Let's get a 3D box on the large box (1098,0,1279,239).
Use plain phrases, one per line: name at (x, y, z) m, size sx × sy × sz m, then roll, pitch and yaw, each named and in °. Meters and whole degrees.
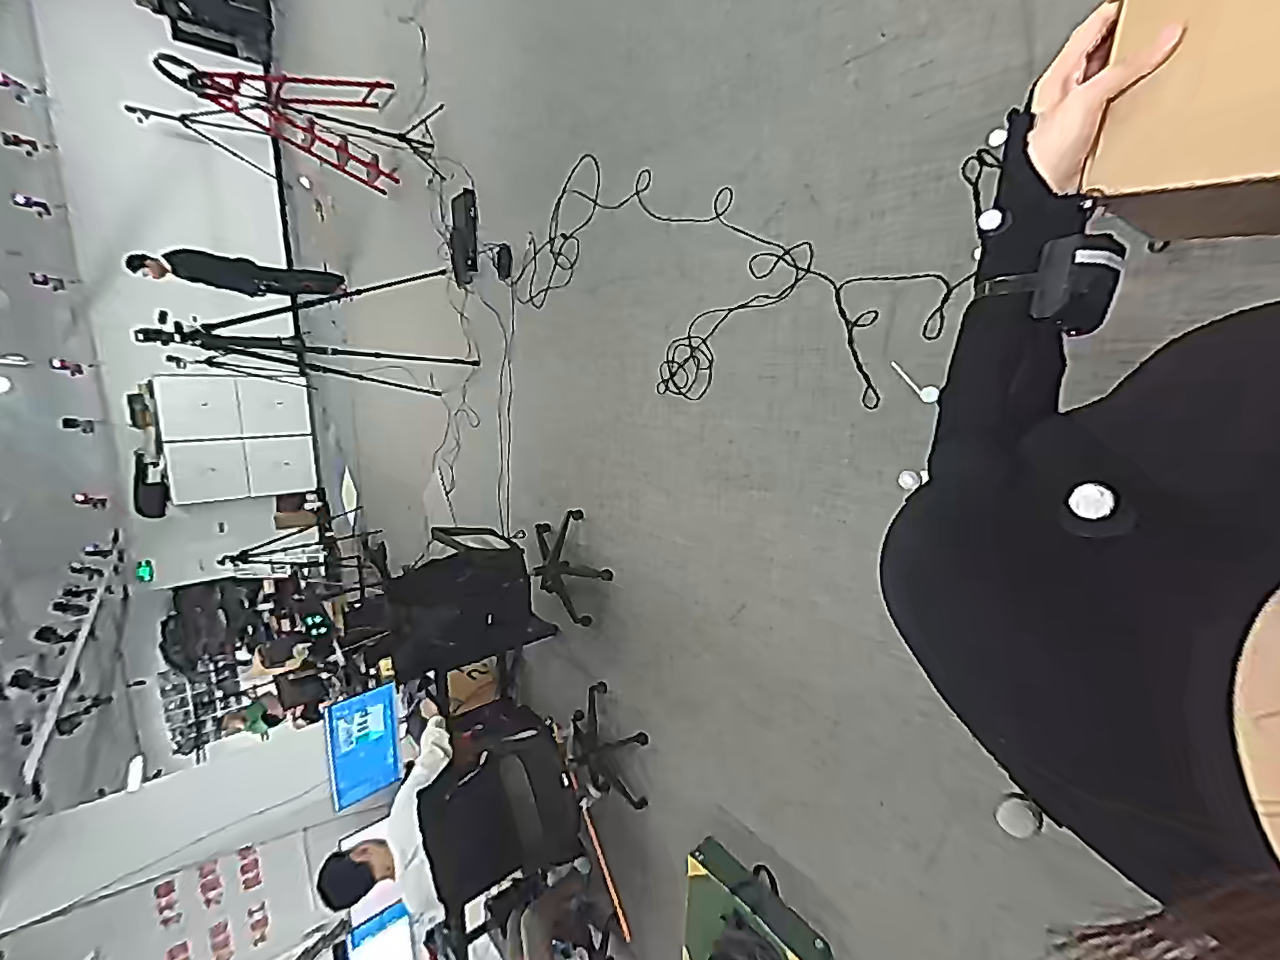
large box at (0.587, -0.347, 0.323) m, size 0.408 × 0.320 × 0.320 m, roll 19°, pitch 114°, yaw 45°
